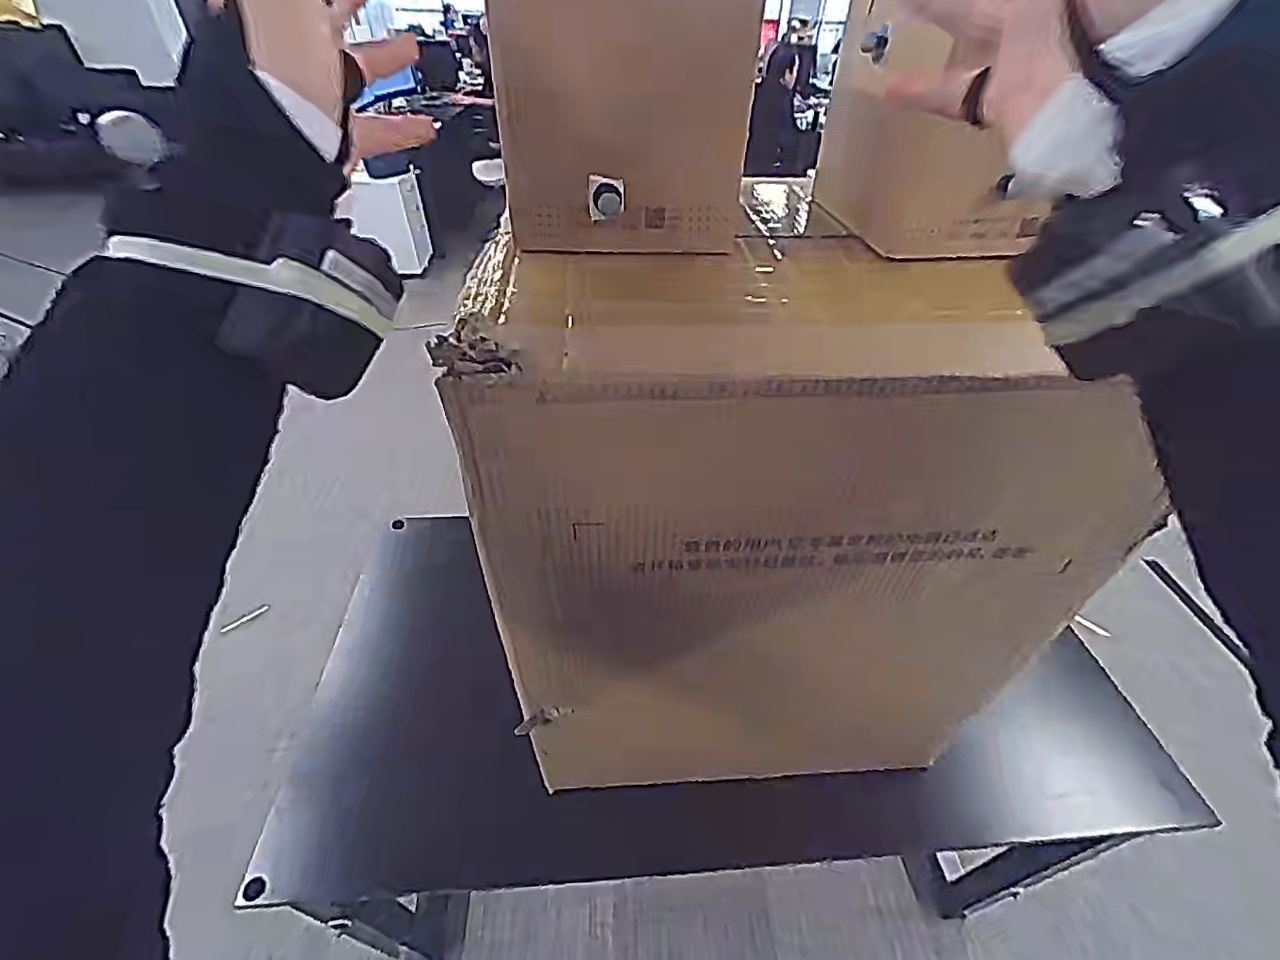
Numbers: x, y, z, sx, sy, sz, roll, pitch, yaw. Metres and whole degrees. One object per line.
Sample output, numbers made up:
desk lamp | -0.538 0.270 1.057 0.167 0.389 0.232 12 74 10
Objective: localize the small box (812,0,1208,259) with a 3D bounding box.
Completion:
small box | 0.253 -0.287 0.427 0.168 0.176 0.179 -4 42 -4

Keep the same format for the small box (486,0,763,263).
small box | -0.018 -0.282 0.418 0.168 0.176 0.179 -4 42 -5
